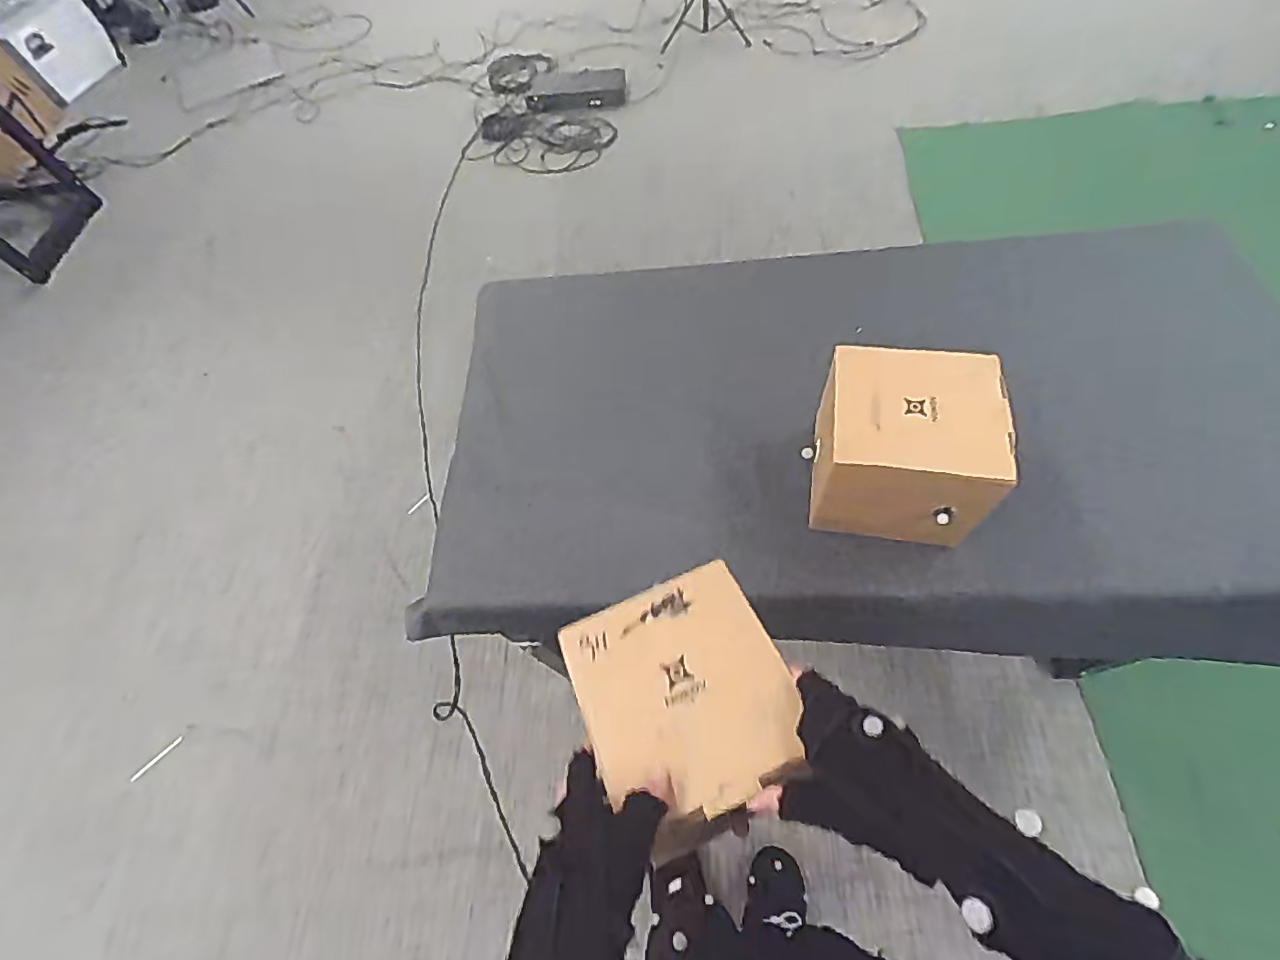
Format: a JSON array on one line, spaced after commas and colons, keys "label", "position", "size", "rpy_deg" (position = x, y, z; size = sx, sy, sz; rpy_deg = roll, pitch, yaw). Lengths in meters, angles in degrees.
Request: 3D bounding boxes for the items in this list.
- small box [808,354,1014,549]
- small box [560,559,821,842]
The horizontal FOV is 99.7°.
[{"label": "small box", "position": [0.310, -0.028, 0.654], "size": [0.179, 0.176, 0.168], "rpy_deg": [6, 61, 12]}, {"label": "small box", "position": [0.044, 0.210, 0.503], "size": [0.168, 0.176, 0.179], "rpy_deg": [-21, 52, -7]}]
